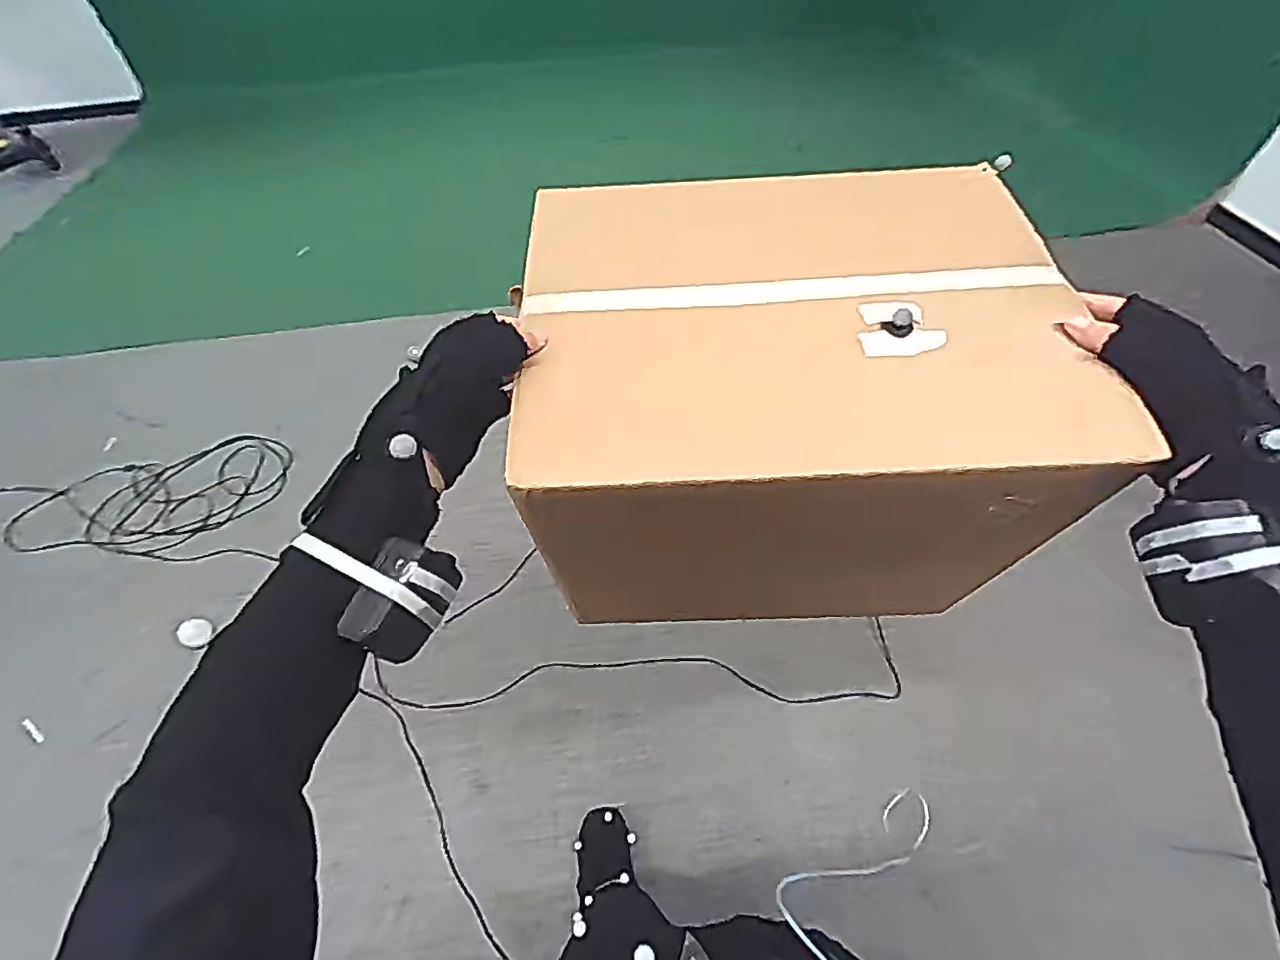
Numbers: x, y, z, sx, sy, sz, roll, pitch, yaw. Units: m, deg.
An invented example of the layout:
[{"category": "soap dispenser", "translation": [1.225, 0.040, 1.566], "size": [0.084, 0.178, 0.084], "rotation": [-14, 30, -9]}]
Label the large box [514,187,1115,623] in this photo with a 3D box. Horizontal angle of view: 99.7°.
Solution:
[{"category": "large box", "translation": [0.110, -0.057, 0.555], "size": [0.408, 0.320, 0.320], "rotation": [-3, 59, 1]}]
